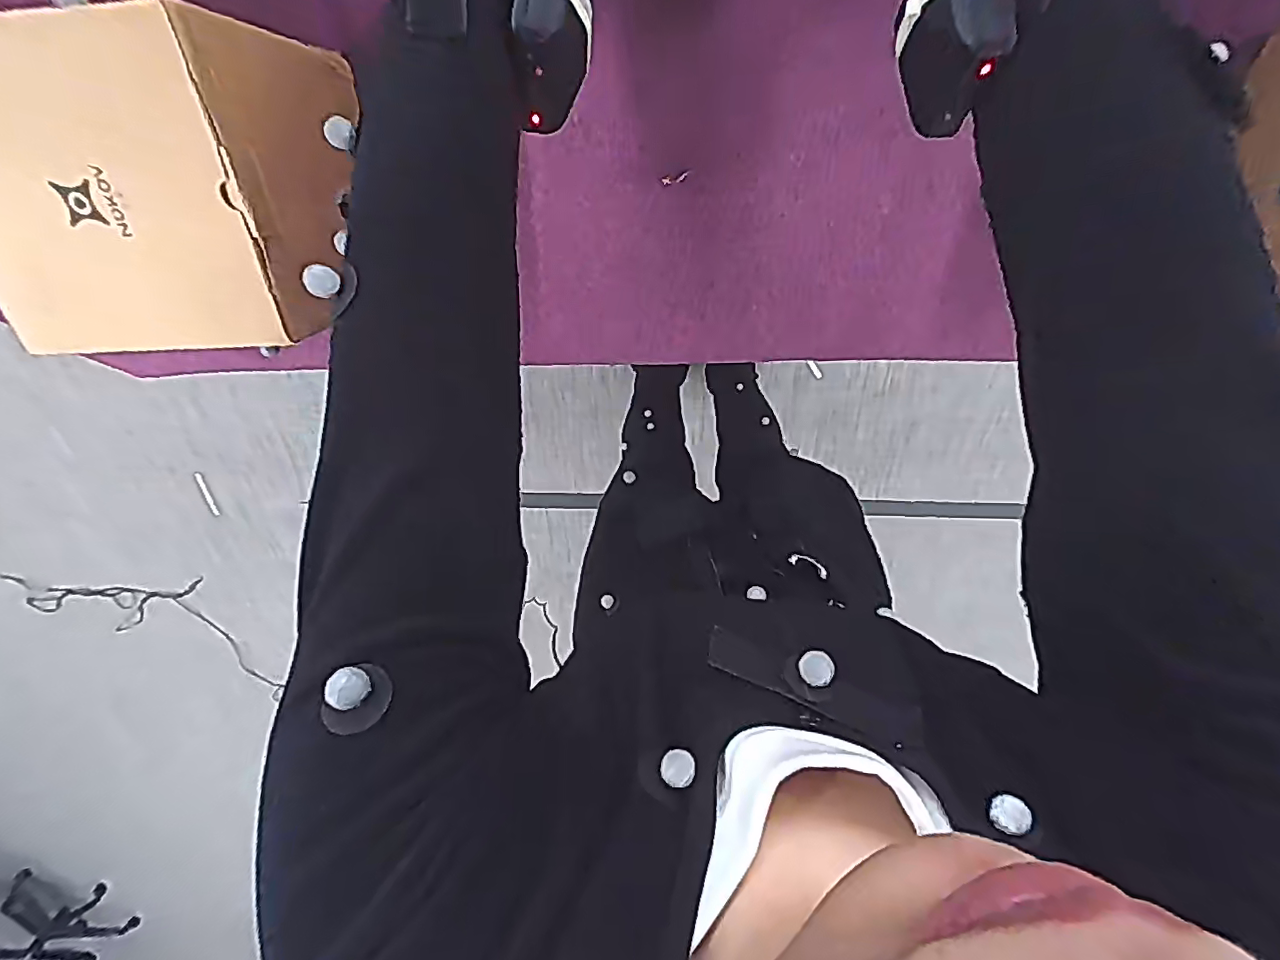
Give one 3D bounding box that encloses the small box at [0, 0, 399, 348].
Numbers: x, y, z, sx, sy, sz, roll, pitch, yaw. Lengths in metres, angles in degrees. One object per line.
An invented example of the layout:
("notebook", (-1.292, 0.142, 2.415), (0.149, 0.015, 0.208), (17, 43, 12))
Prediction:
("small box", (-0.300, -0.195, 0.368), (0.179, 0.176, 0.168), (-2, 120, 3))
